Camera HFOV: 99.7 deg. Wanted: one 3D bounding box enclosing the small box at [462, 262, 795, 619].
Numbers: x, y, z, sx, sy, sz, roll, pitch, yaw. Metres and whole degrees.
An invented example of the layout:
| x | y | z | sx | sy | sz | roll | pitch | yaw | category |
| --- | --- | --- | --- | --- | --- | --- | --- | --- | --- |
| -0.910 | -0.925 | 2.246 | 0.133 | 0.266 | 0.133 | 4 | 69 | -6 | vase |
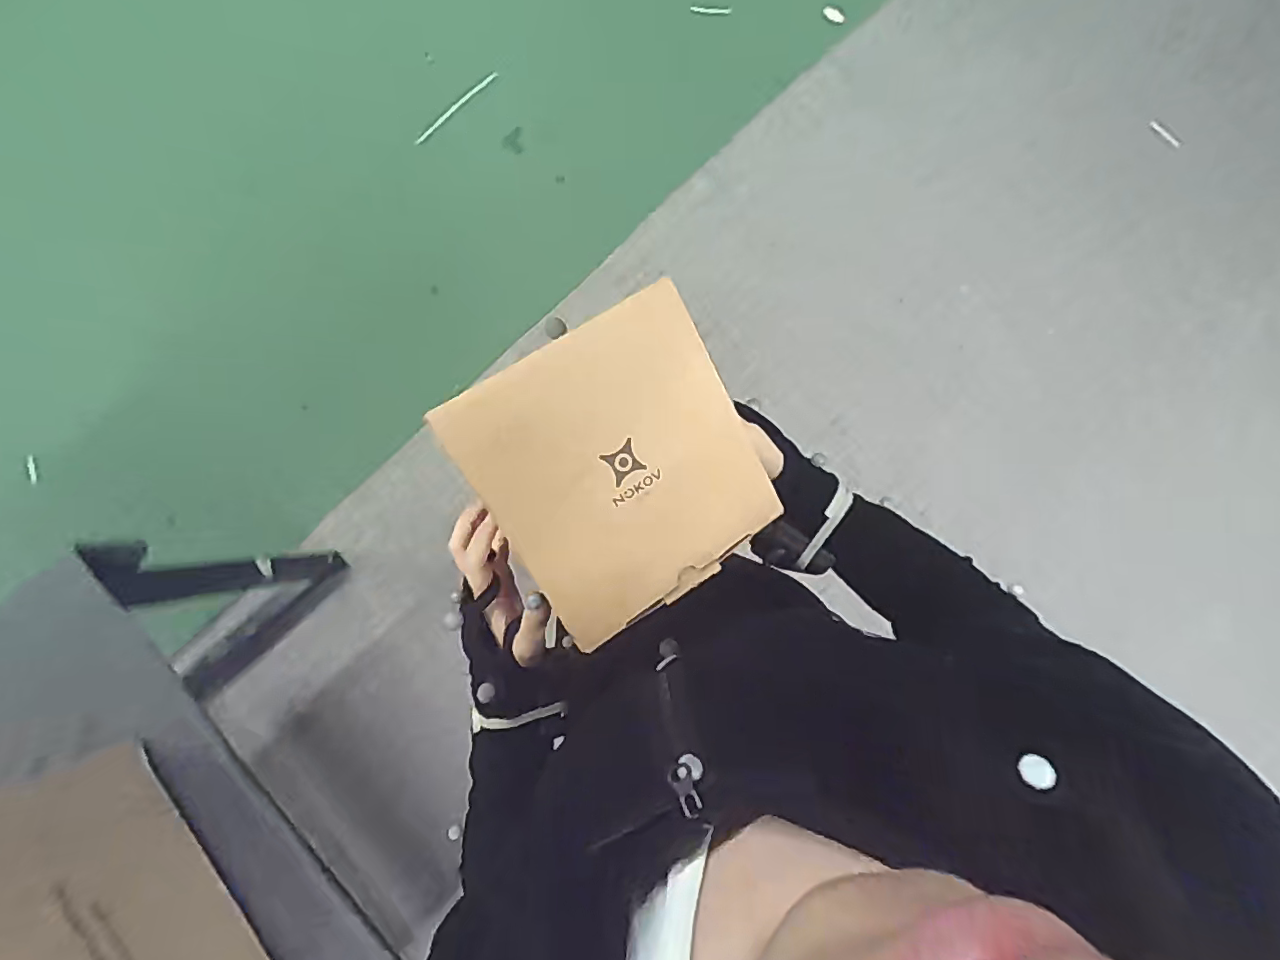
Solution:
| x | y | z | sx | sy | sz | roll | pitch | yaw | category |
| --- | --- | --- | --- | --- | --- | --- | --- | --- | --- |
| -0.022 | -0.032 | 0.414 | 0.168 | 0.176 | 0.179 | -32 | 106 | -13 | small box |
